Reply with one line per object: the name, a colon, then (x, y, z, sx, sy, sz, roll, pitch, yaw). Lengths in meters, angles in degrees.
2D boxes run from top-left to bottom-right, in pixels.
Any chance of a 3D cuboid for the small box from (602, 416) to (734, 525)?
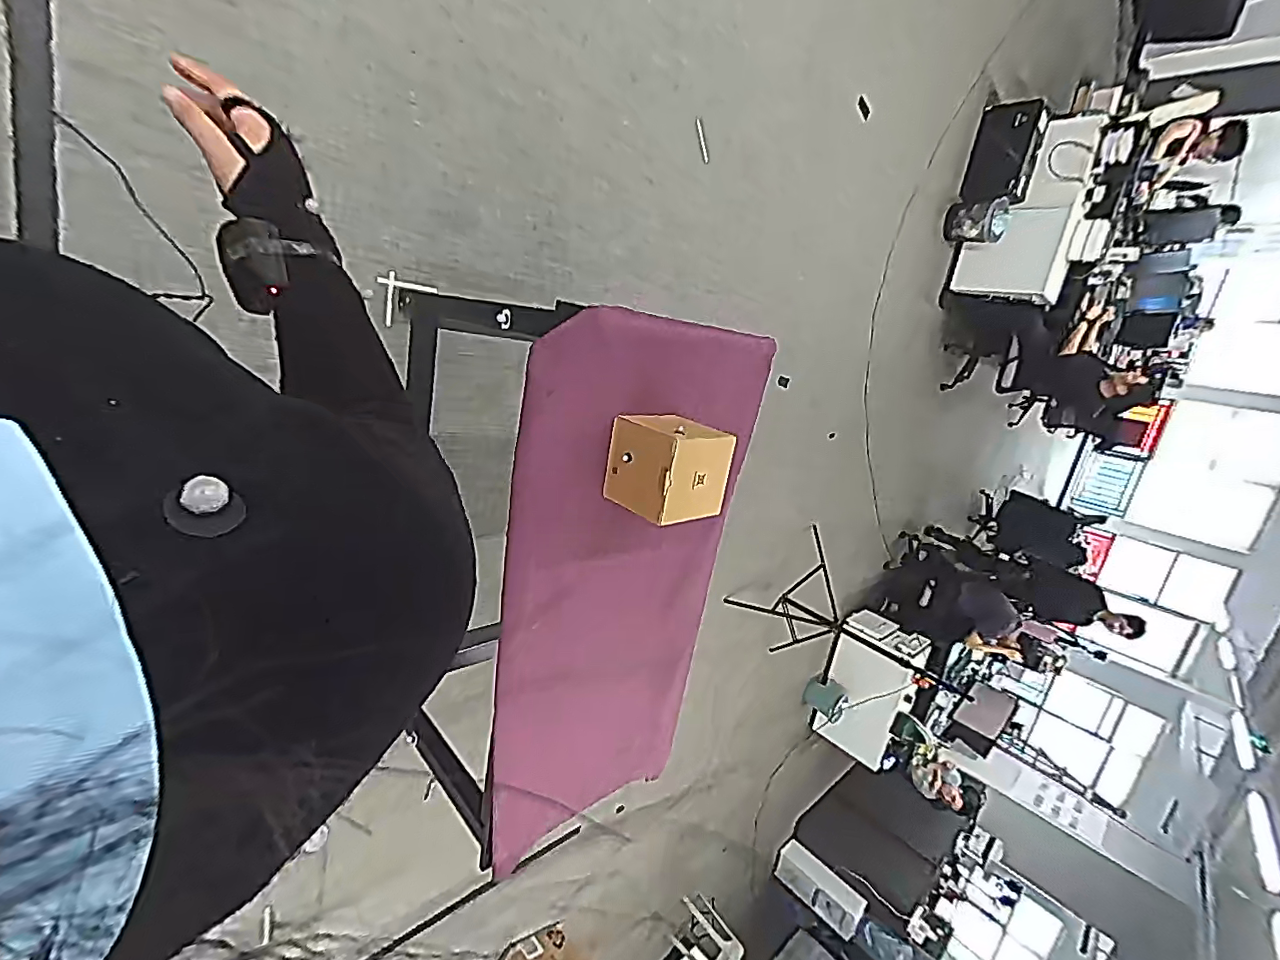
small box: (0.053, -0.028, 1.067, 0.179, 0.176, 0.168, -7, 114, -43)
